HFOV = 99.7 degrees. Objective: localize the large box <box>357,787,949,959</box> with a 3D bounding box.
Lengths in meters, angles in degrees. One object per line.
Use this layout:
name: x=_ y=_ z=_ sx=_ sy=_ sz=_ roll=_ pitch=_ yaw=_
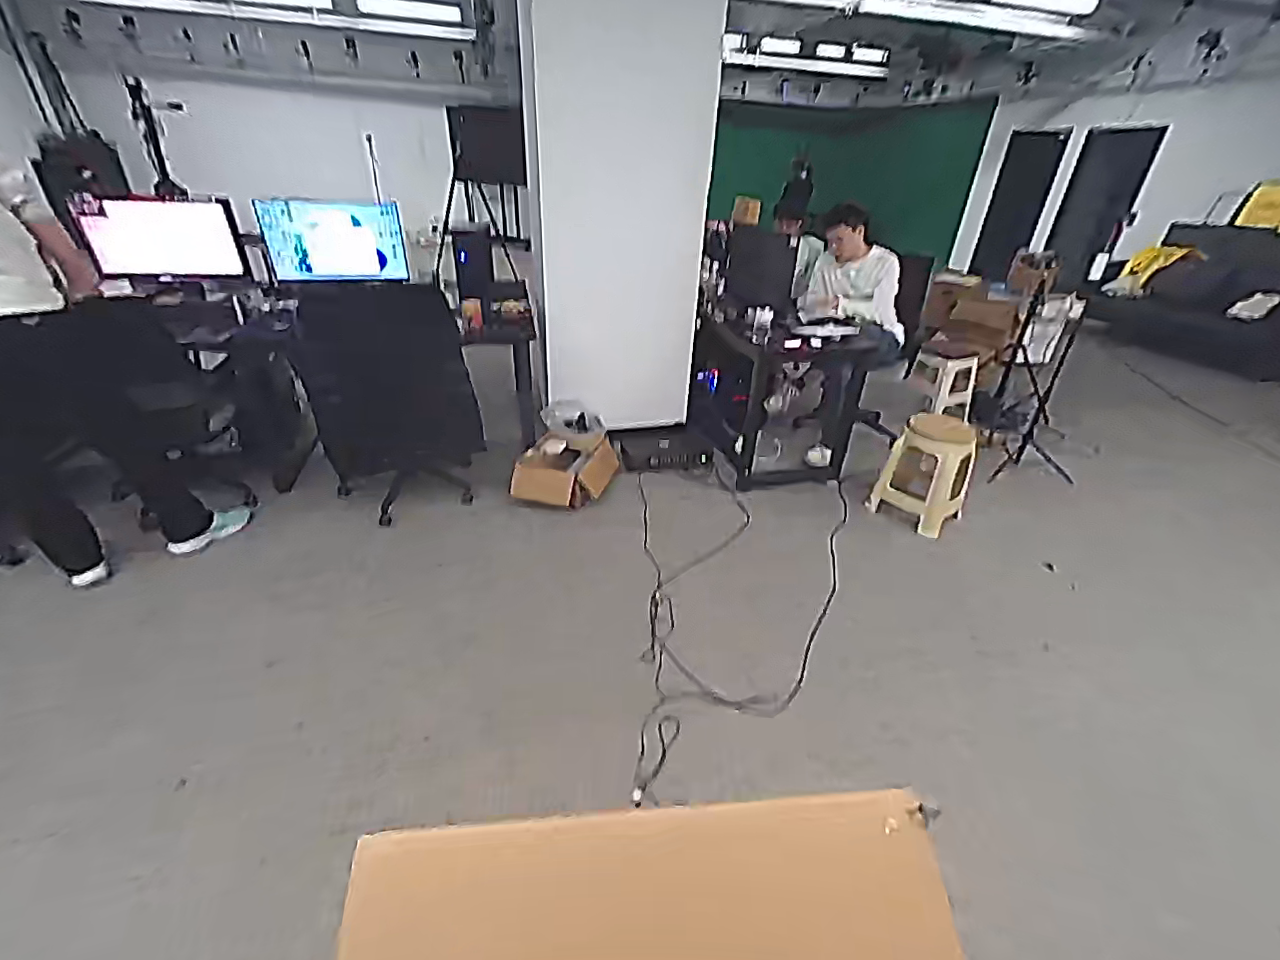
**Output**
large box: x=0.009 y=0.459 z=0.454 sx=0.408 sy=0.320 sz=0.320 roll=-2 pitch=60 yaw=-5
